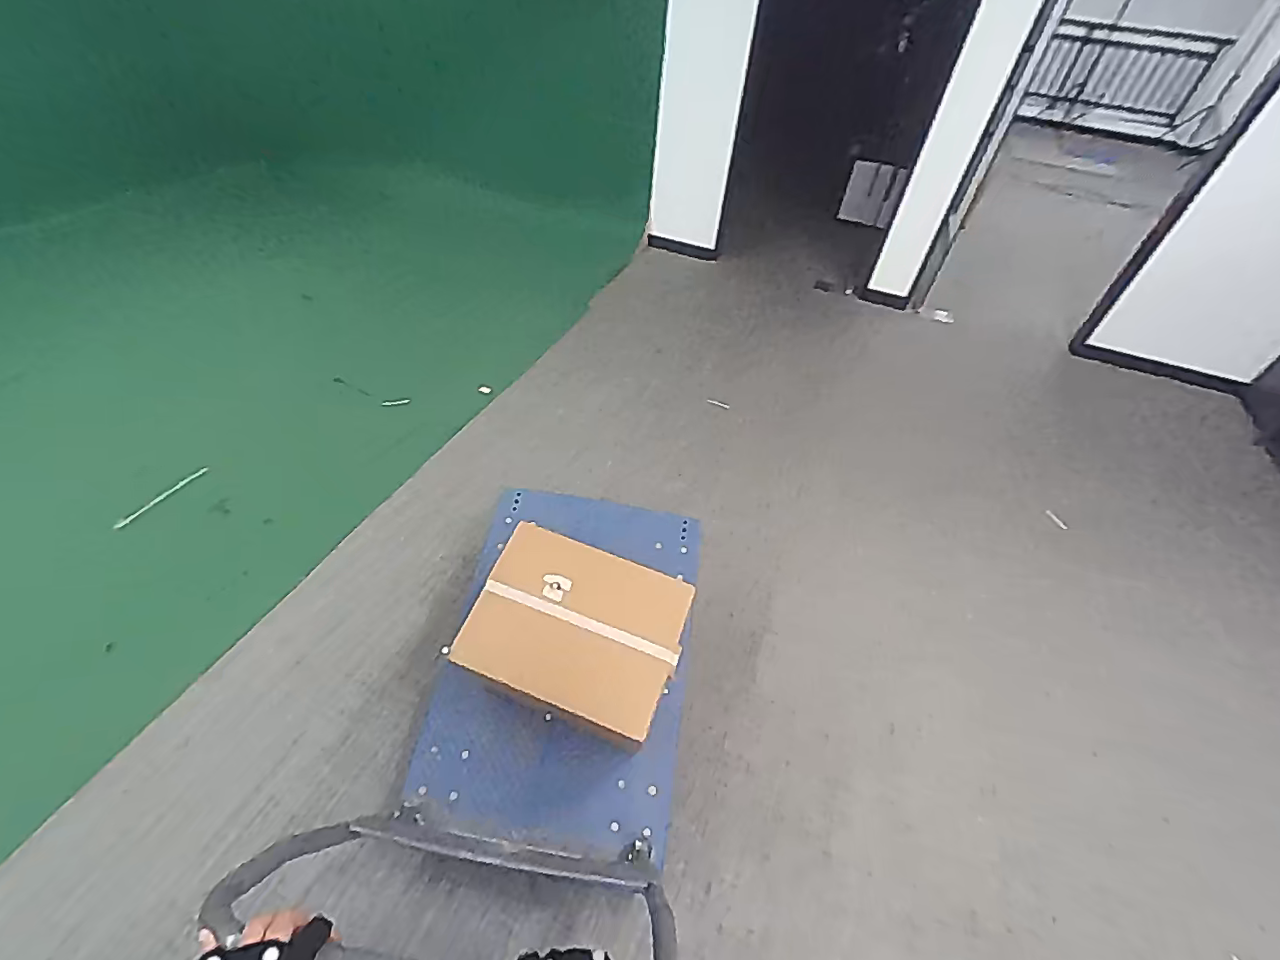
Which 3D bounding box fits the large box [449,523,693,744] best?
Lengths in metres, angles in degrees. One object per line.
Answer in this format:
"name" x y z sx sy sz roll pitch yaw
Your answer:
"large box" -0.129 0.350 1.197 0.408 0.320 0.320 20 61 9
